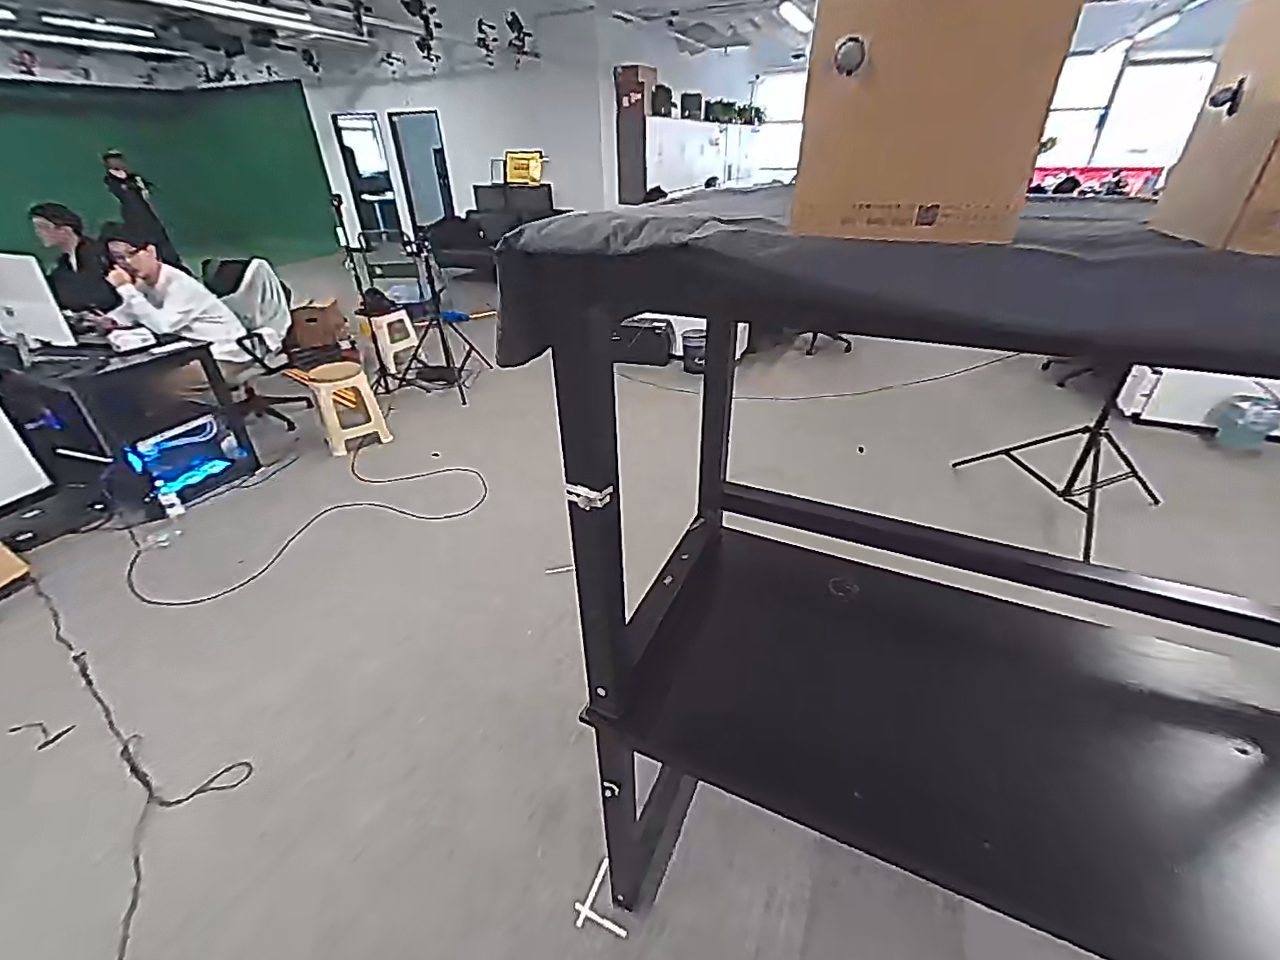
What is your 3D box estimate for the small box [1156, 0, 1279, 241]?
[{"bbox_3d":[0.495,-0.247,0.351,0.168,0.176,0.179,13,32,22],"label":"small box"}]
